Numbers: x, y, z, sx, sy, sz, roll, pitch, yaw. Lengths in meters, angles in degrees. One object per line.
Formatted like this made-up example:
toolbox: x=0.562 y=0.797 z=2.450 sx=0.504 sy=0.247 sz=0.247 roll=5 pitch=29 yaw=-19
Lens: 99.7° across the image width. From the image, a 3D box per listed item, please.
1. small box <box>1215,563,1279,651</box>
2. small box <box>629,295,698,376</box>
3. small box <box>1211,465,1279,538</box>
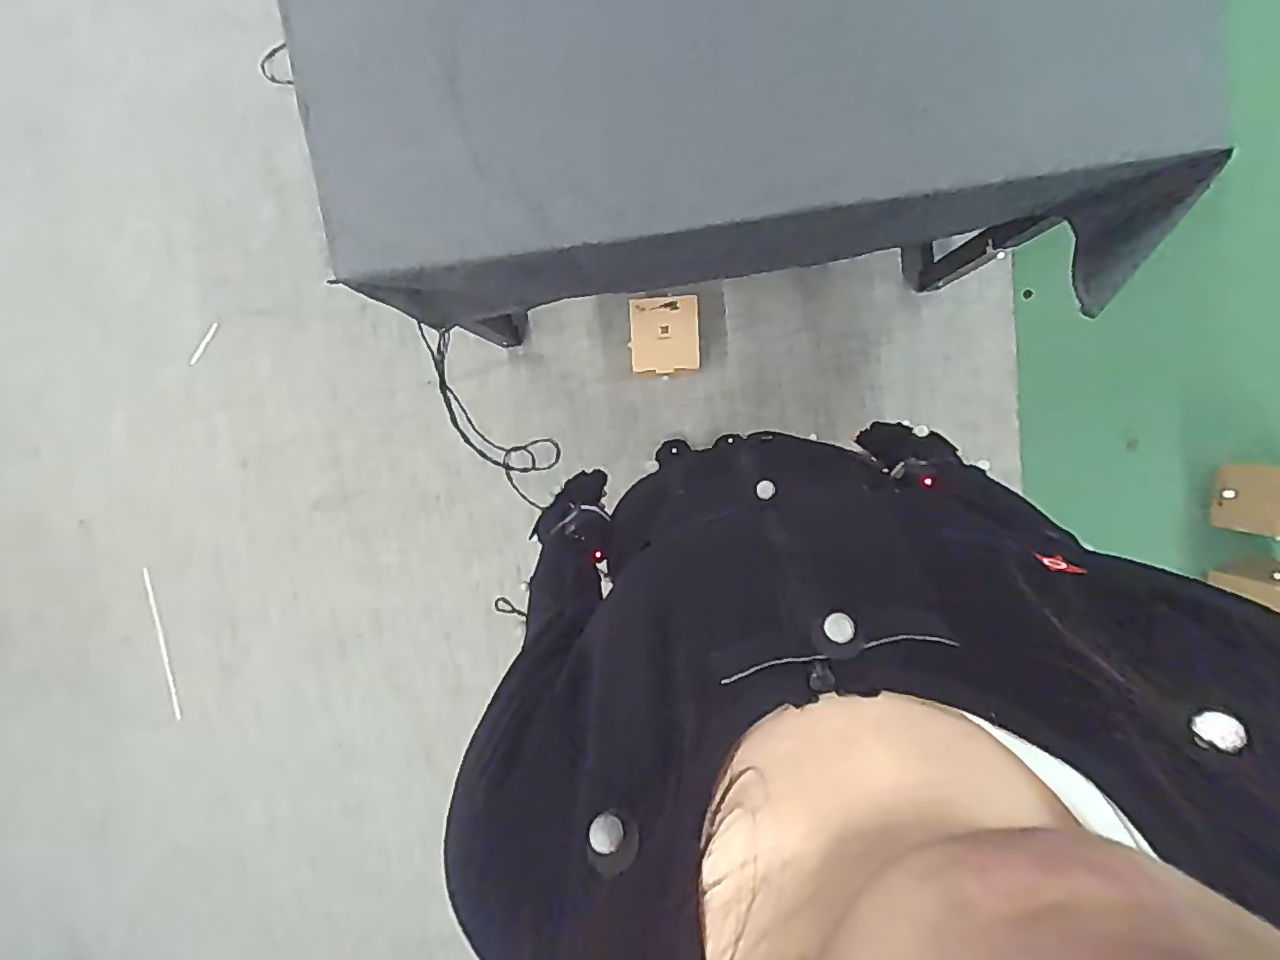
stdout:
small box: x=1.582 y=0.312 z=1.332 sx=0.179 sy=0.176 sz=0.168 roll=-8 pitch=94 yaw=3
small box: x=0.063 y=-0.356 z=1.364 sx=0.168 sy=0.176 sz=0.179 roll=-2 pitch=95 yaw=4
small box: x=1.570 y=0.054 z=1.312 sx=0.179 sy=0.176 sz=0.168 roll=5 pitch=94 yaw=4
